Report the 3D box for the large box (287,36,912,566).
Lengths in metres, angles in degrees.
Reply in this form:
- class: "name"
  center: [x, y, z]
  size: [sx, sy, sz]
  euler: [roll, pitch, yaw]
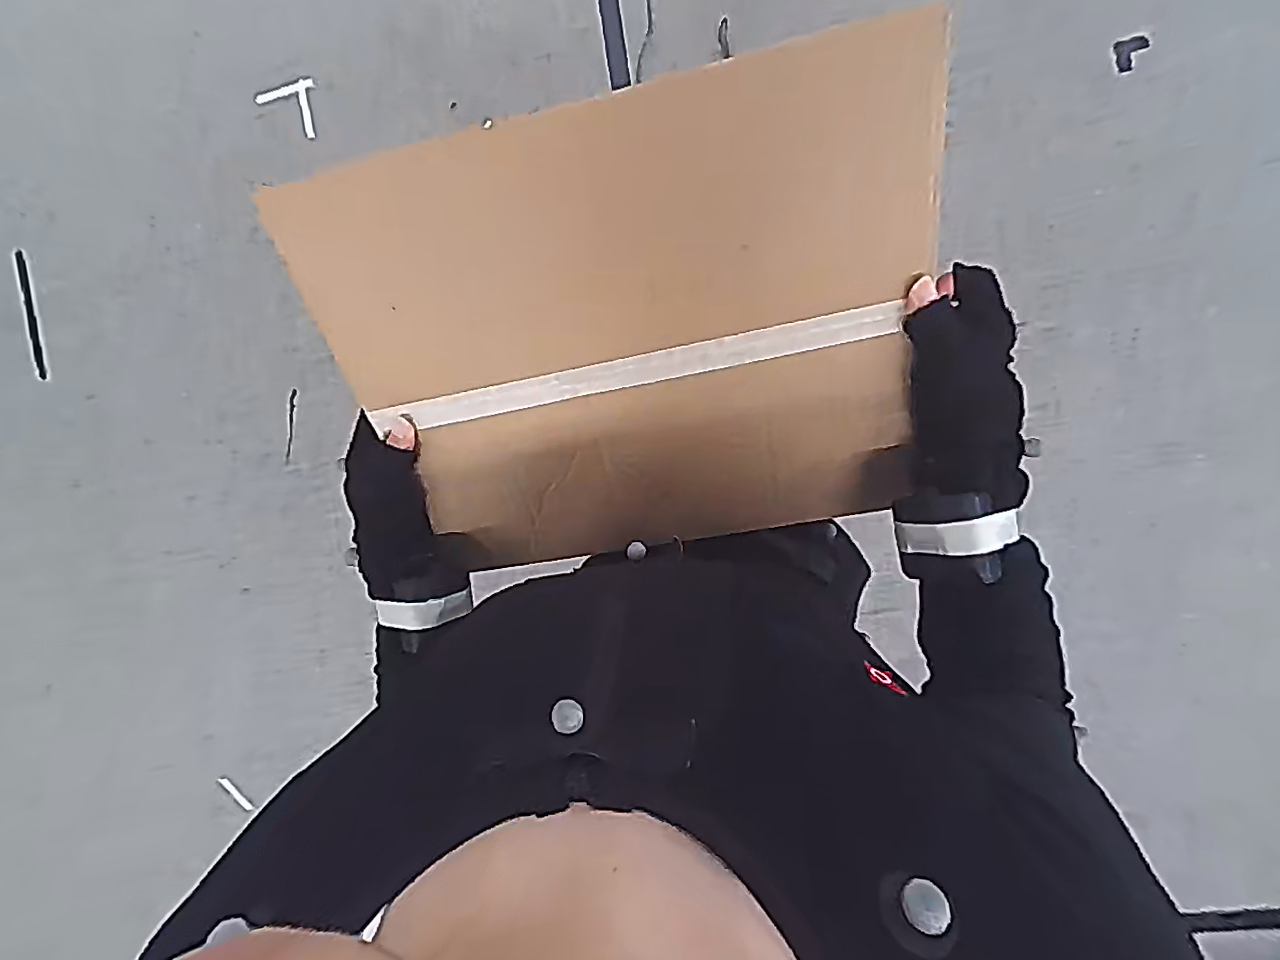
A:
- class: "large box"
  center: [-0.001, -0.159, 0.525]
  size: [0.408, 0.320, 0.320]
  euler: [-10, 120, 9]
